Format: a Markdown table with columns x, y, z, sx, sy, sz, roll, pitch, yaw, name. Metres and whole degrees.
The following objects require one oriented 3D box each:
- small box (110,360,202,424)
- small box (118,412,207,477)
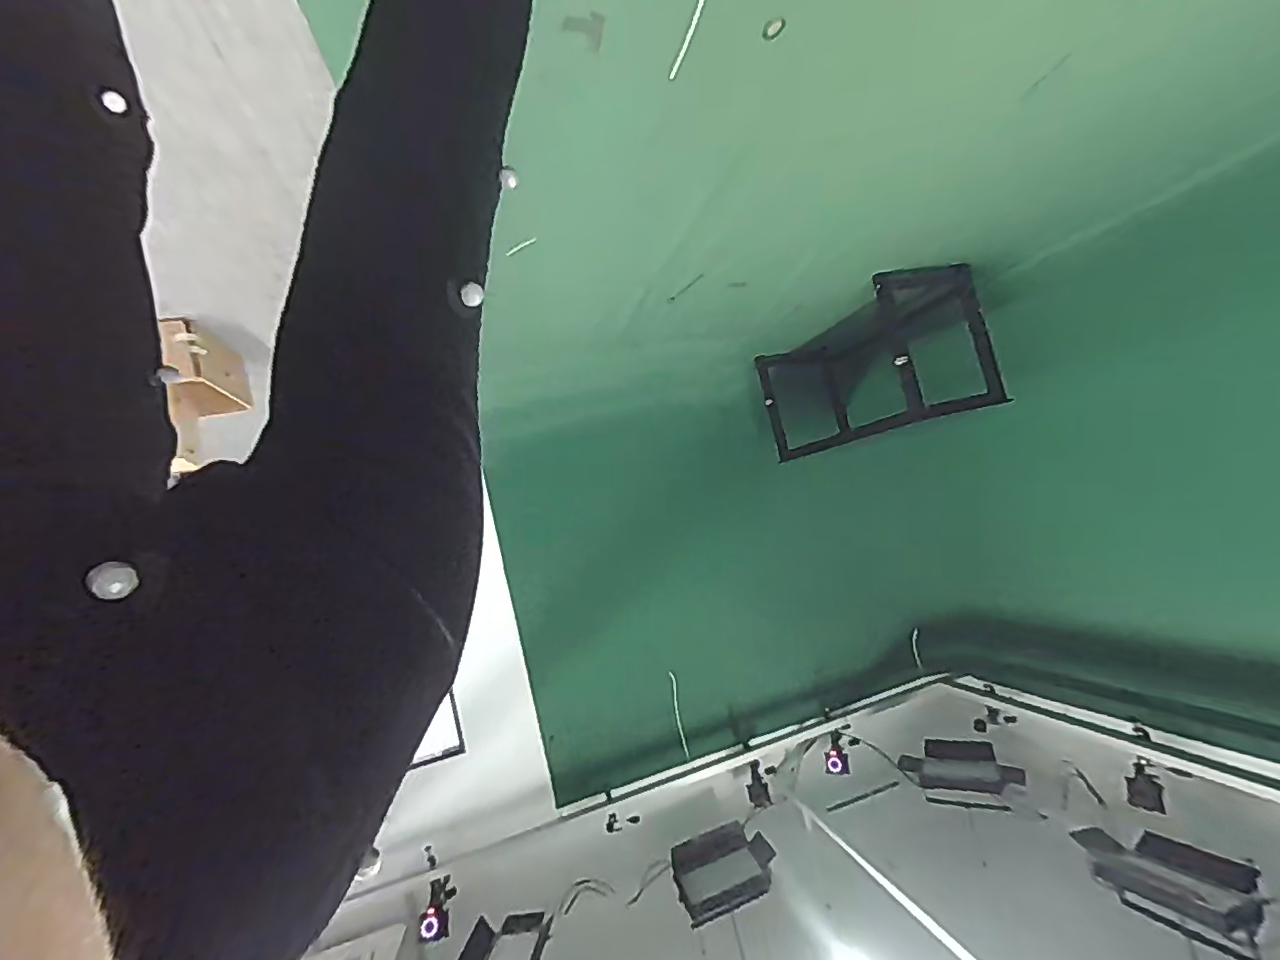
| x | y | z | sx | sy | sz | roll | pitch | yaw | name |
| --- | --- | --- | --- | --- | --- | --- | --- | --- | --- |
| -1.540 | -0.273 | 1.727 | 0.168 | 0.176 | 0.179 | -9 | 173 | -19 | small box |
| -1.511 | -0.113 | 1.717 | 0.168 | 0.176 | 0.179 | -9 | 174 | -23 | small box |
